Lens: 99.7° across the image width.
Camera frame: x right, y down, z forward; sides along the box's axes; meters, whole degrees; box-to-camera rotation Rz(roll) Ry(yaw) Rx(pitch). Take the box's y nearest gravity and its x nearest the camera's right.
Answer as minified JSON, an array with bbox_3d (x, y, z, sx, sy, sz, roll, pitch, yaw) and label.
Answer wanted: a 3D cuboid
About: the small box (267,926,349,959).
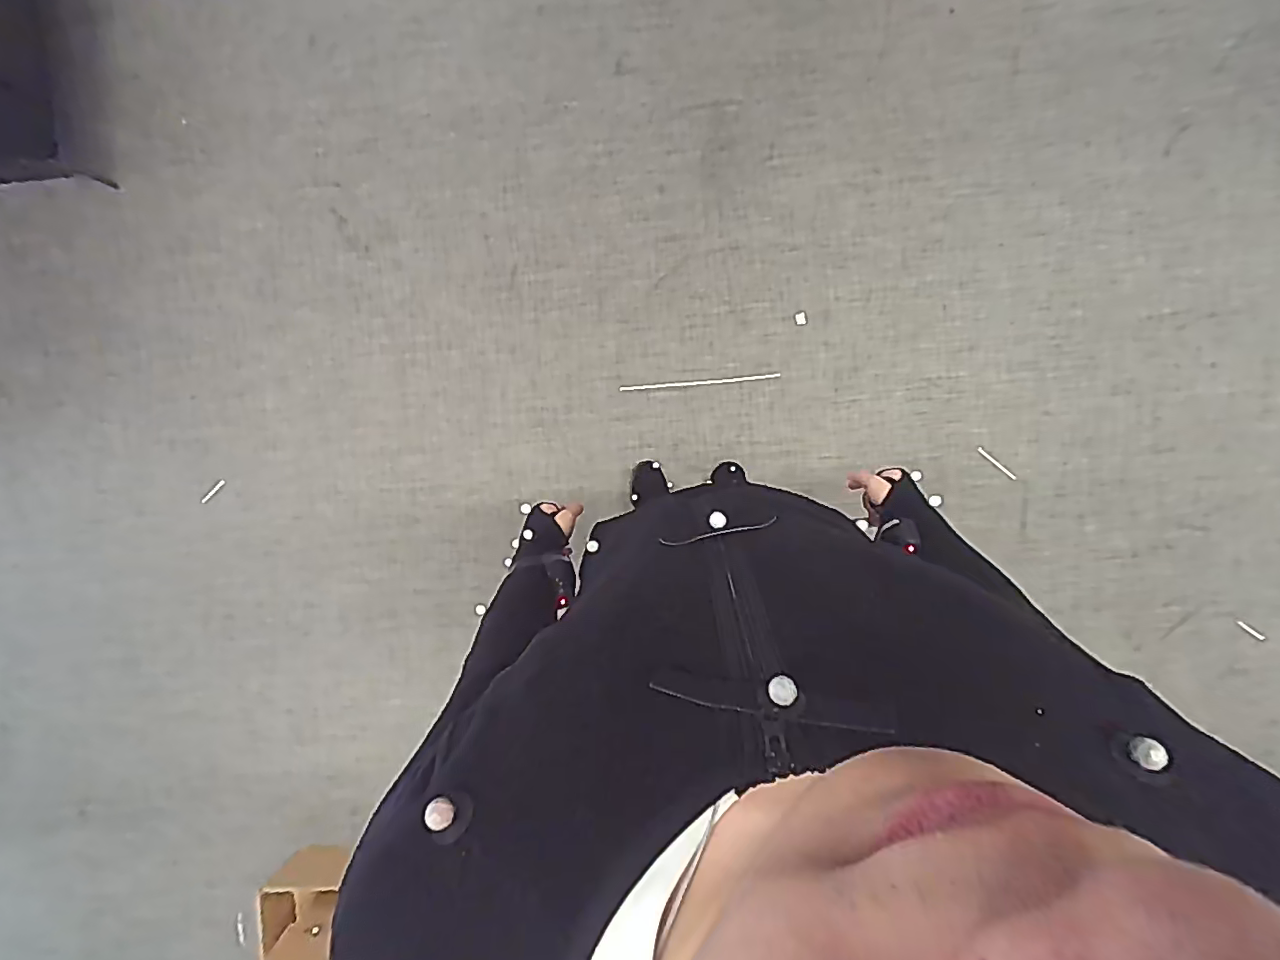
[{"bbox_3d":[-0.882,1.320,1.413,0.168,0.176,0.179,-4,91,1],"label":"small box"}]
